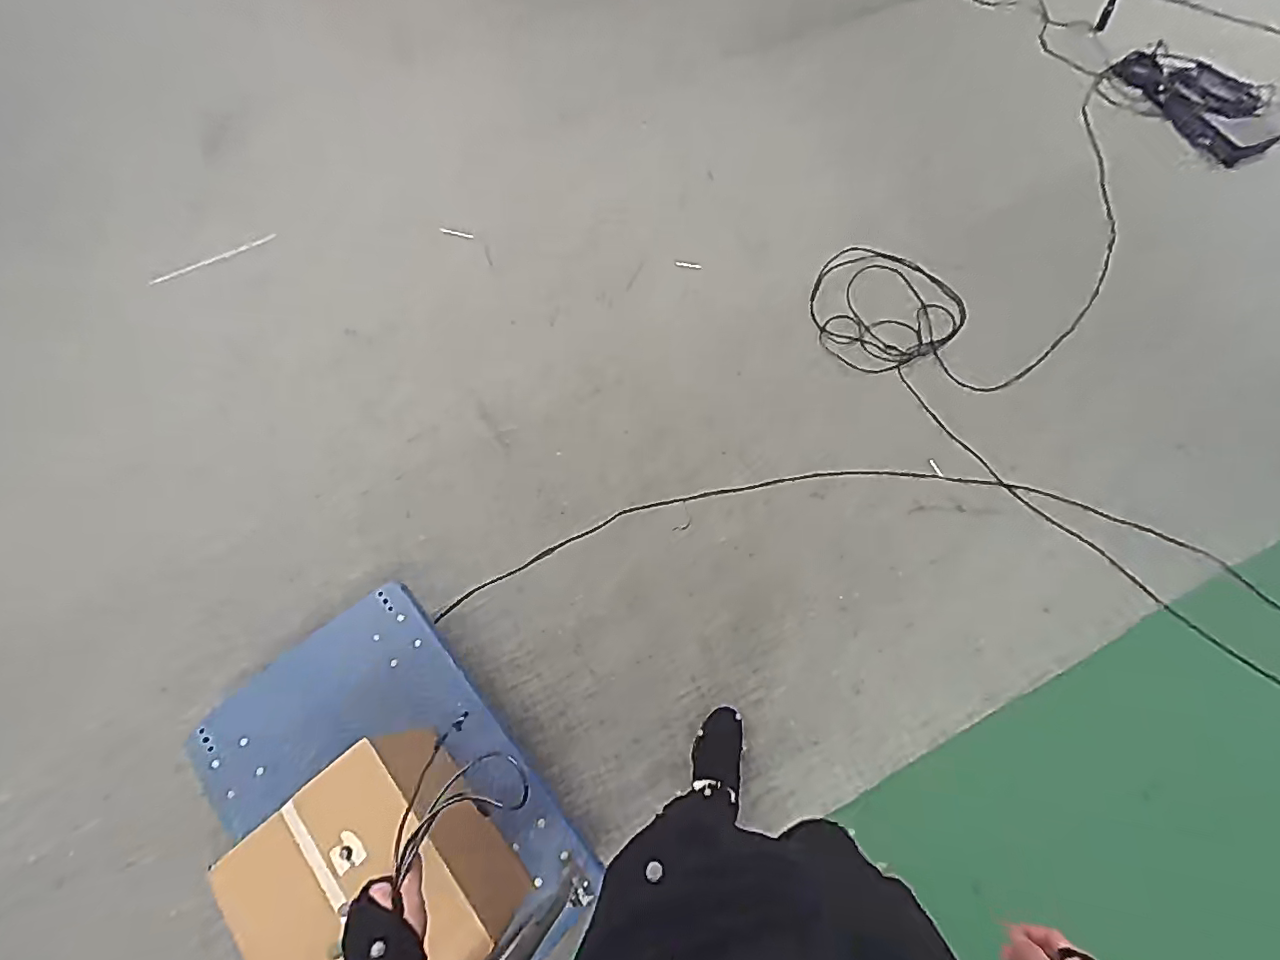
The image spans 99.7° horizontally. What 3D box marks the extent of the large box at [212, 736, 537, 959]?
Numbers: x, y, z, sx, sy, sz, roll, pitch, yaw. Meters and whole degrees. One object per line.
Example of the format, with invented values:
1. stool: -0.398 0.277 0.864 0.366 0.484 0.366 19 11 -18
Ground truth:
1. large box: -0.457 0.753 1.004 0.320 0.320 0.408 -40 71 -14
